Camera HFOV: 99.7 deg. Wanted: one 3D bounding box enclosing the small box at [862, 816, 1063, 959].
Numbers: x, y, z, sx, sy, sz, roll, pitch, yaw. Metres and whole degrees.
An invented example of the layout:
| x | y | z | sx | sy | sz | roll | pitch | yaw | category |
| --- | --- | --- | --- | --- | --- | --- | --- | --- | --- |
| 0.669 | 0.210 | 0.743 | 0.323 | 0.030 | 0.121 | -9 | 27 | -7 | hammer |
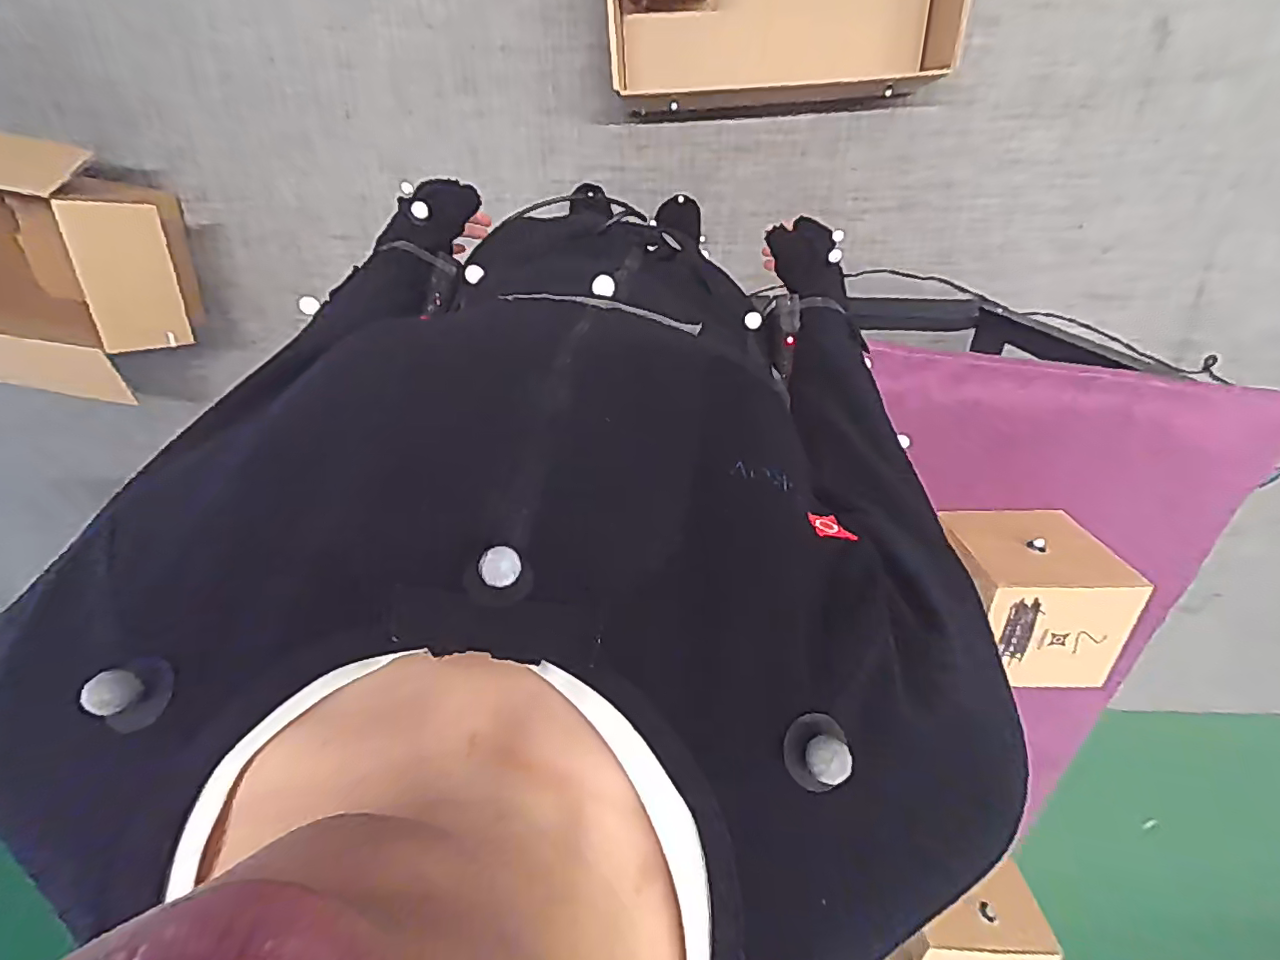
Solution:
| x | y | z | sx | sy | sz | roll | pitch | yaw | category |
| --- | --- | --- | --- | --- | --- | --- | --- | --- | --- |
| 0.458 | 0.629 | 0.802 | 0.179 | 0.176 | 0.168 | 2 | 118 | 1 | small box |
